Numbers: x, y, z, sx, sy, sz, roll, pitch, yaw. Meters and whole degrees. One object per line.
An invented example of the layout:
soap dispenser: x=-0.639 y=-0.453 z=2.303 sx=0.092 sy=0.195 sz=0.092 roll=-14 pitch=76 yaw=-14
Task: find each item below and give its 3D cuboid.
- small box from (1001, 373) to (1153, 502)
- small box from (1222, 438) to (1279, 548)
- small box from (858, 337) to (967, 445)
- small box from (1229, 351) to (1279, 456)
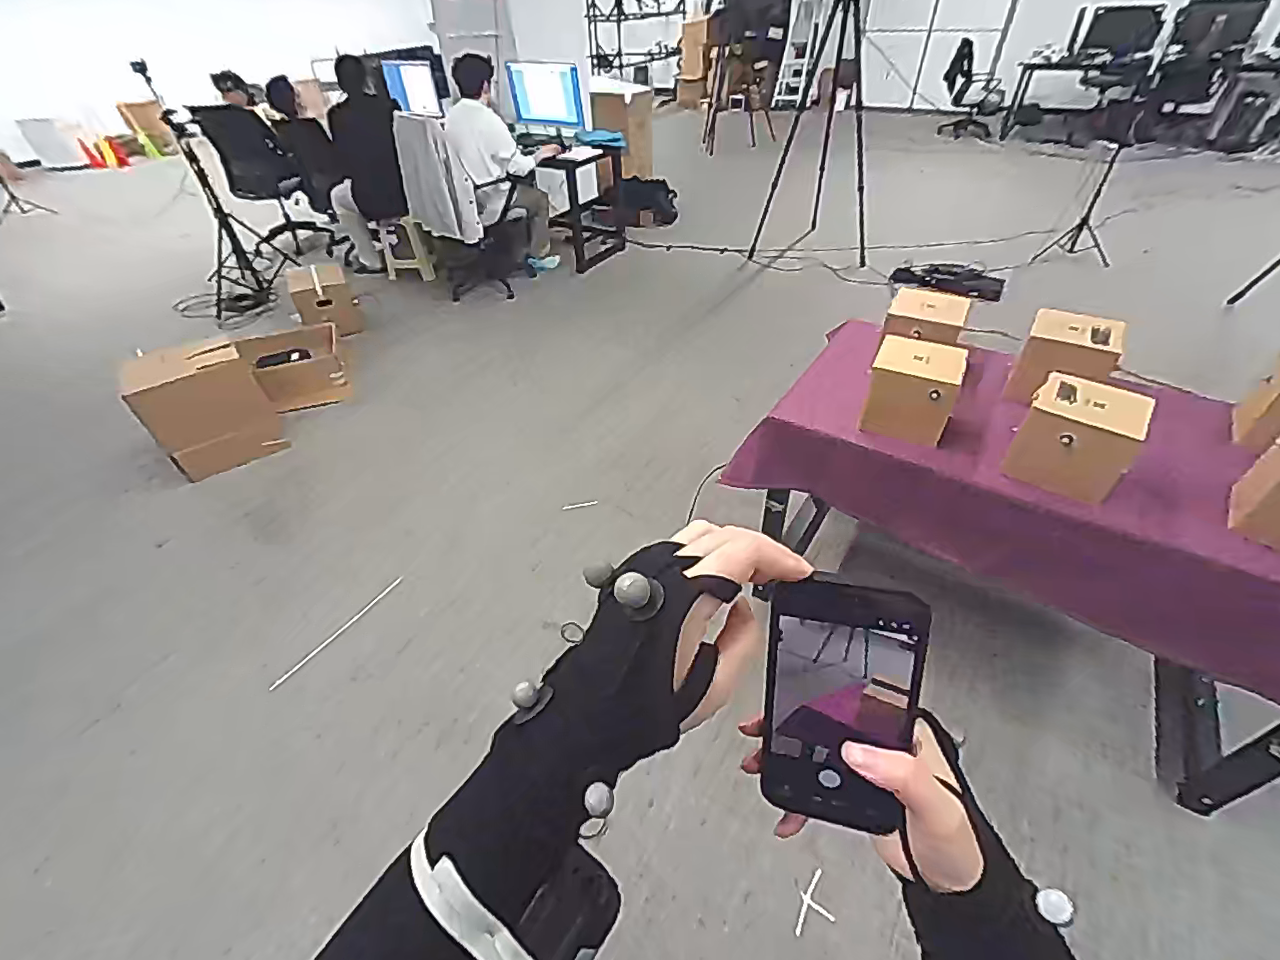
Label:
small box: x=0.864 y=-0.085 z=1.083 sx=0.179 sy=0.176 sz=0.168 roll=29 pitch=51 yaw=30
small box: x=1.187 y=0.027 z=0.939 sx=0.179 sy=0.176 sz=0.168 roll=30 pitch=51 yaw=31
small box: x=0.615 y=-0.202 z=1.232 sx=0.179 sy=0.176 sz=0.168 roll=19 pitch=46 yaw=22
small box: x=1.379 y=-0.145 z=1.118 sx=0.168 sy=0.176 sz=0.179 roll=26 pitch=50 yaw=29
